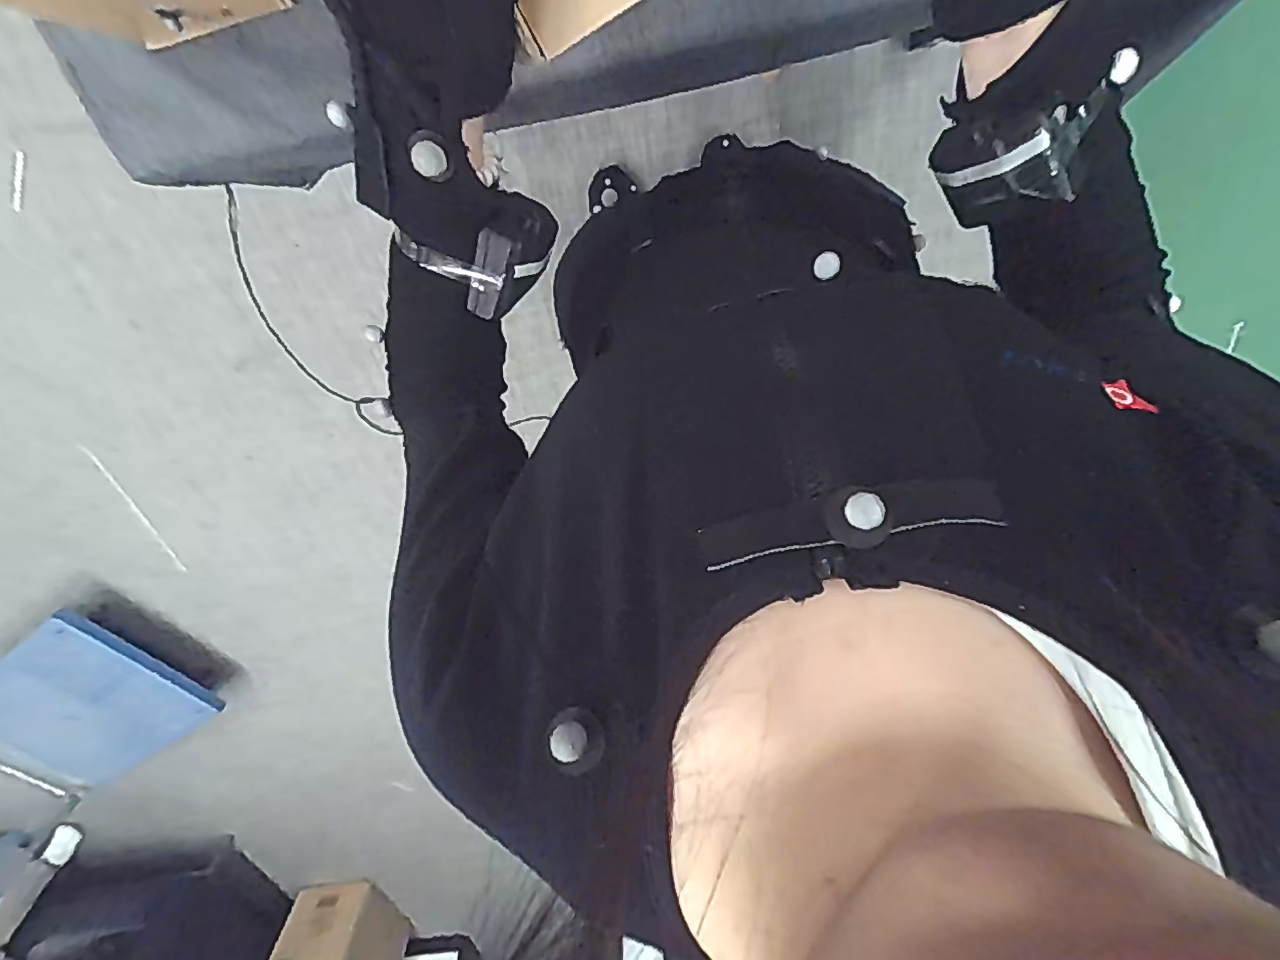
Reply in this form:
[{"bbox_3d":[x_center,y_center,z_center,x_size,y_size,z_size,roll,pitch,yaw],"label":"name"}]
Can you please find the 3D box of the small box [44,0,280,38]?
[{"bbox_3d":[-0.424,-0.478,0.409,0.168,0.176,0.179,-12,120,6],"label":"small box"}]
